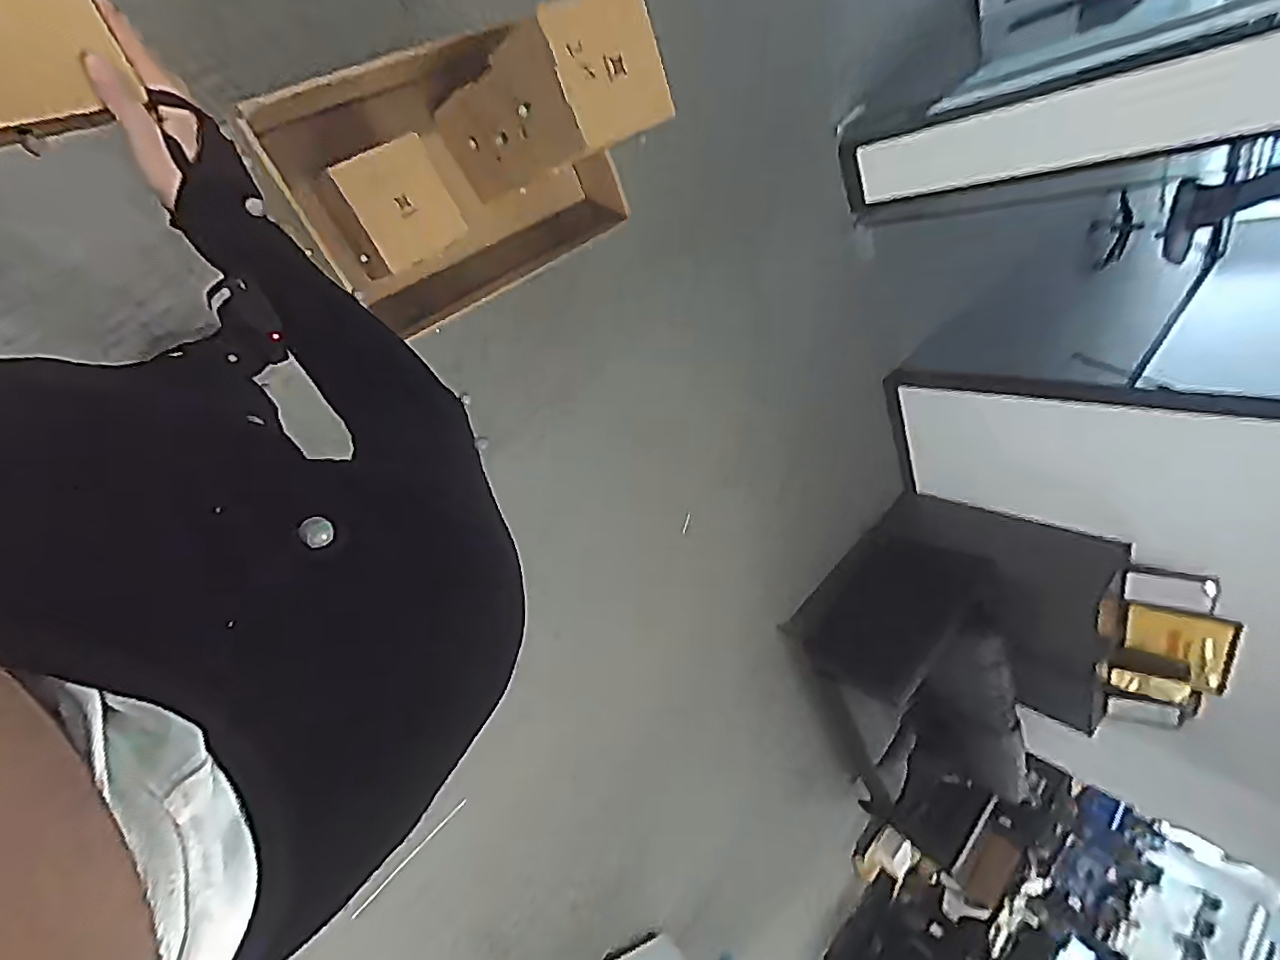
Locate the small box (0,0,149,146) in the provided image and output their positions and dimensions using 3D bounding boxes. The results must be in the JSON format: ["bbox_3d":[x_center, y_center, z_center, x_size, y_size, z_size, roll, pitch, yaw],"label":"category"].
[{"bbox_3d":[-0.523,-0.358,0.409,0.179,0.176,0.168,-29,131,-19],"label":"small box"}]

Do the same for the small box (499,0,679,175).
[{"bbox_3d":[-0.077,-0.578,0.800,0.179,0.176,0.168,-36,122,-22],"label":"small box"}]

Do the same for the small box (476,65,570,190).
[{"bbox_3d":[-0.160,-0.630,0.934,0.179,0.176,0.168,-42,125,-18],"label":"small box"}]
